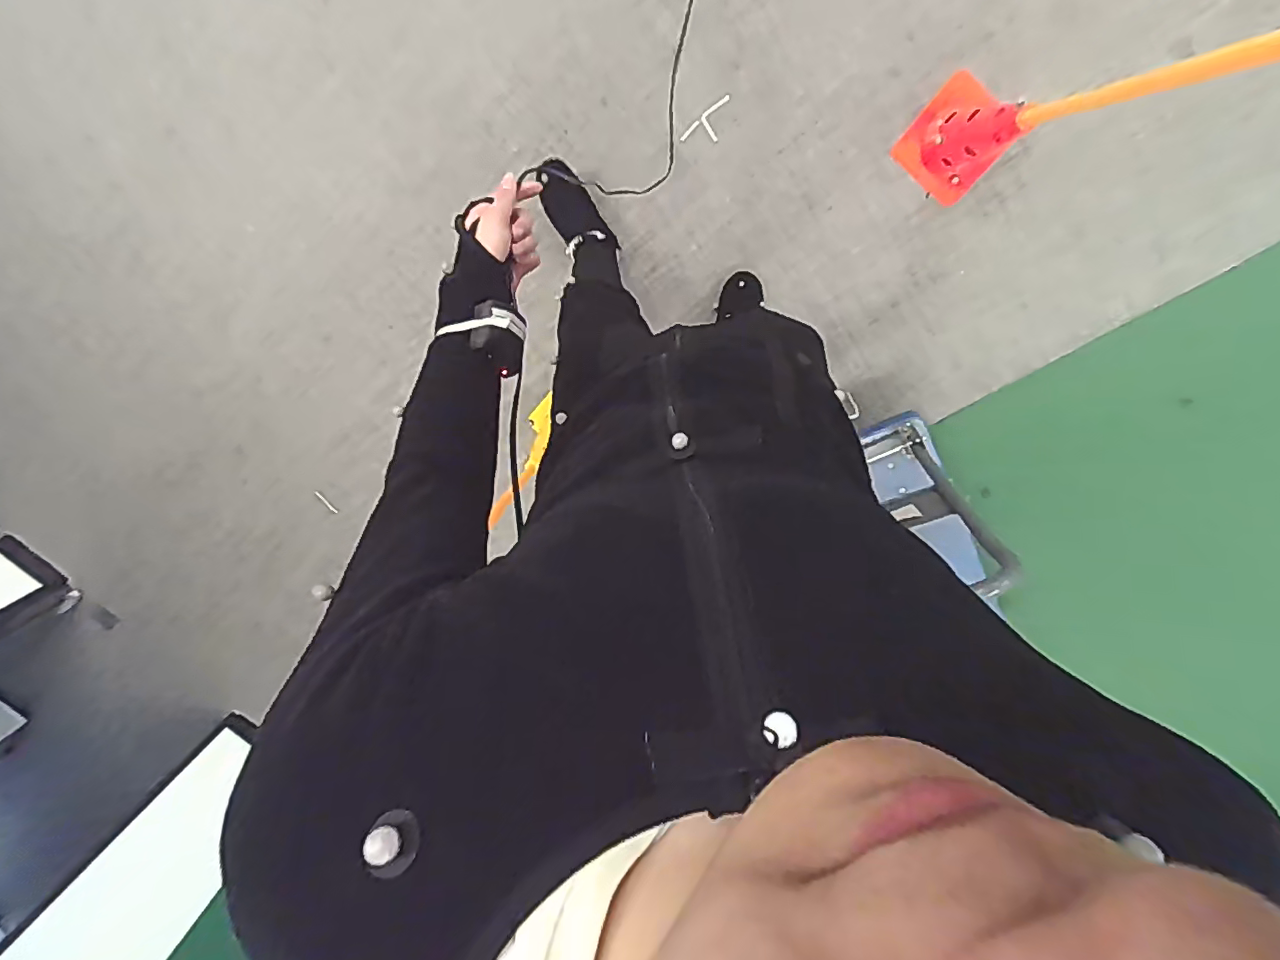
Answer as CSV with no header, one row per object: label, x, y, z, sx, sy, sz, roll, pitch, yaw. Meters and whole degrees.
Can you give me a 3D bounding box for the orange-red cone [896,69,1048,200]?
orange-red cone,0.683,-0.691,1.054,0.198,0.360,0.199,38,115,-10
